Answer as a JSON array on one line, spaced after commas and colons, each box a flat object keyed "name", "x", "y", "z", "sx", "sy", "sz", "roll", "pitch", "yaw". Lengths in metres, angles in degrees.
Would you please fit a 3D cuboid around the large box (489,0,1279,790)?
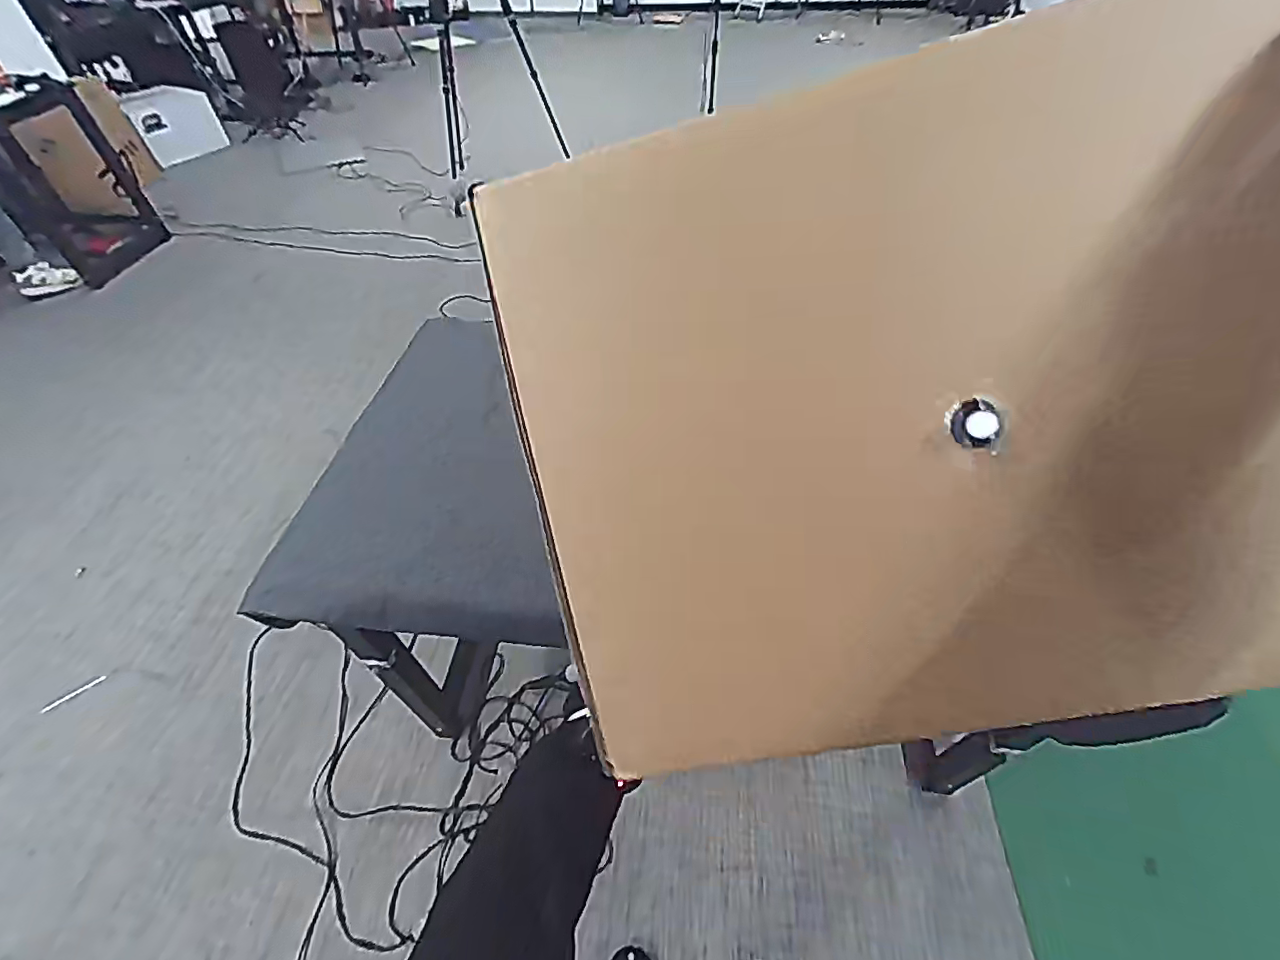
[{"name": "large box", "x": 0.168, "y": -0.039, "z": 0.402, "sx": 0.408, "sy": 0.320, "sz": 0.320, "roll": -15, "pitch": 93, "yaw": 7}]
